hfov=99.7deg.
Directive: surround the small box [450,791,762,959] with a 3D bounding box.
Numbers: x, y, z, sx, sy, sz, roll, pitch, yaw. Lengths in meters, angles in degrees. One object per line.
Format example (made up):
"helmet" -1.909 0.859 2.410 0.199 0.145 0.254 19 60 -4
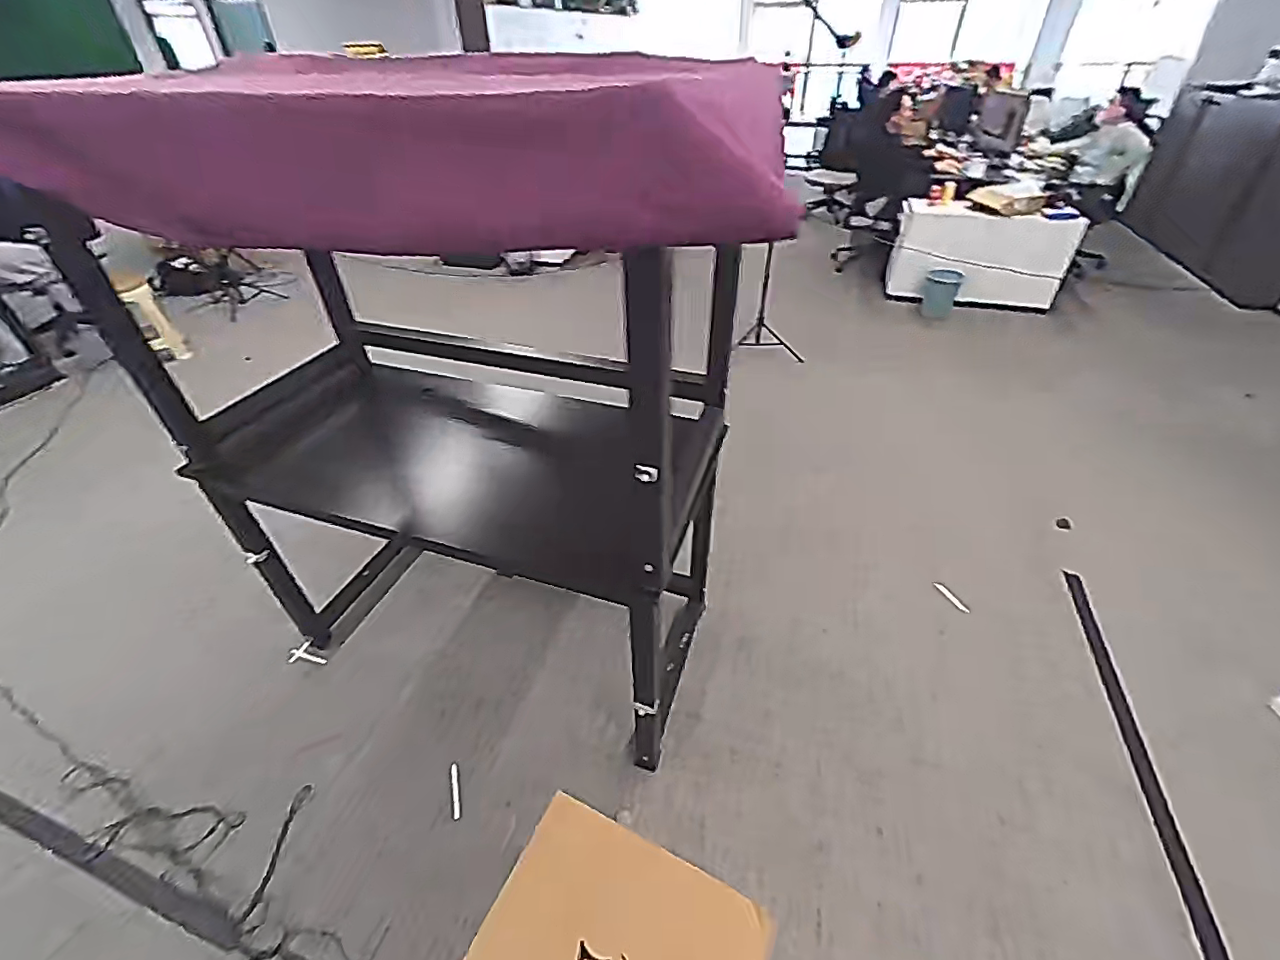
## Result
"small box" -0.022 0.369 0.386 0.179 0.176 0.168 13 47 26
